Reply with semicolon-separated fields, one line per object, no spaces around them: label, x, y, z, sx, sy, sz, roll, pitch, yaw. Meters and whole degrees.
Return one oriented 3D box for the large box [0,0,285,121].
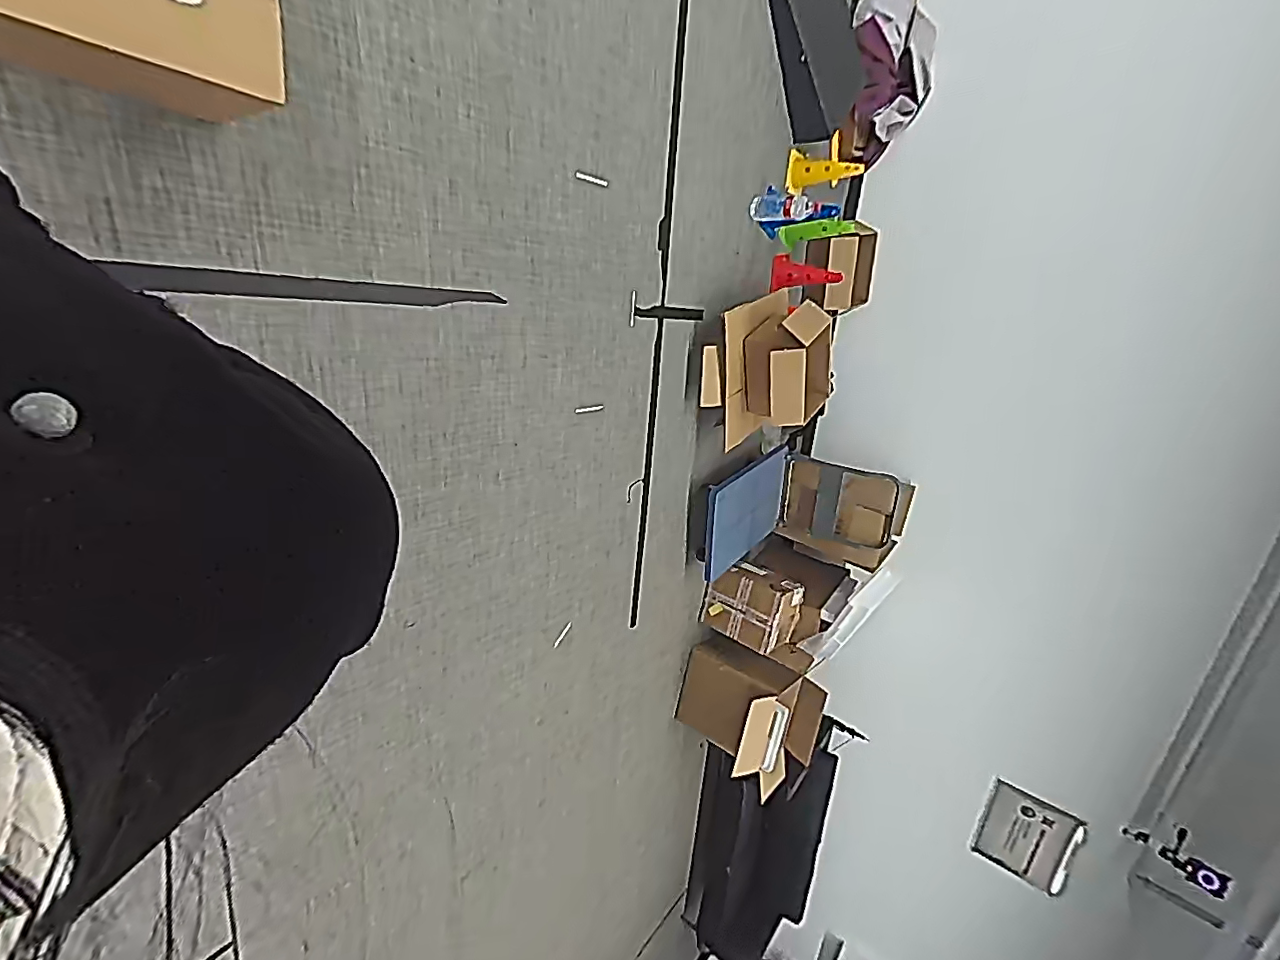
large box;-0.828;-0.788;0.805;0.408;0.320;0.320;-16;118;-51
